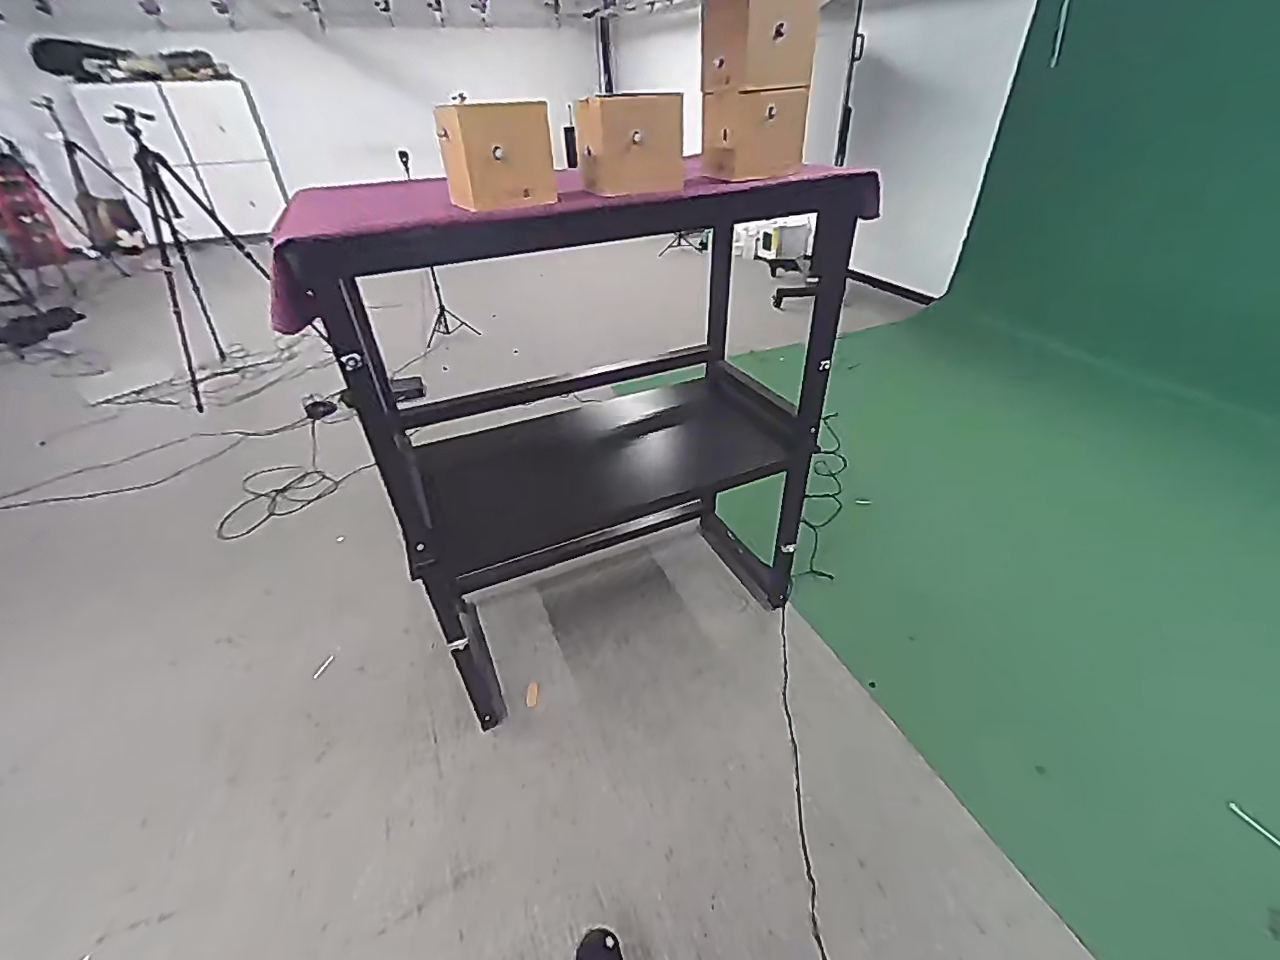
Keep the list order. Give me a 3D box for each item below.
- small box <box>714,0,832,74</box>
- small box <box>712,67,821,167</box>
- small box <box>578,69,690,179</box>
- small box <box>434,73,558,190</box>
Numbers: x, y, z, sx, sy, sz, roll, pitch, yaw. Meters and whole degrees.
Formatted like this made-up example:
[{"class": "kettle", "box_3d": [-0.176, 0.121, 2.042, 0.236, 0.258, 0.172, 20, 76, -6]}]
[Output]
[{"class": "small box", "box_3d": [0.262, -0.922, 1.084, 0.179, 0.176, 0.168, -19, 40, -19]}, {"class": "small box", "box_3d": [0.268, -0.793, 1.184, 0.179, 0.176, 0.168, -13, 38, -15]}, {"class": "small box", "box_3d": [-0.010, -0.708, 1.078, 0.179, 0.176, 0.168, -15, 39, -16]}, {"class": "small box", "box_3d": [-0.261, -0.641, 0.998, 0.168, 0.176, 0.179, -19, 39, -22]}]
